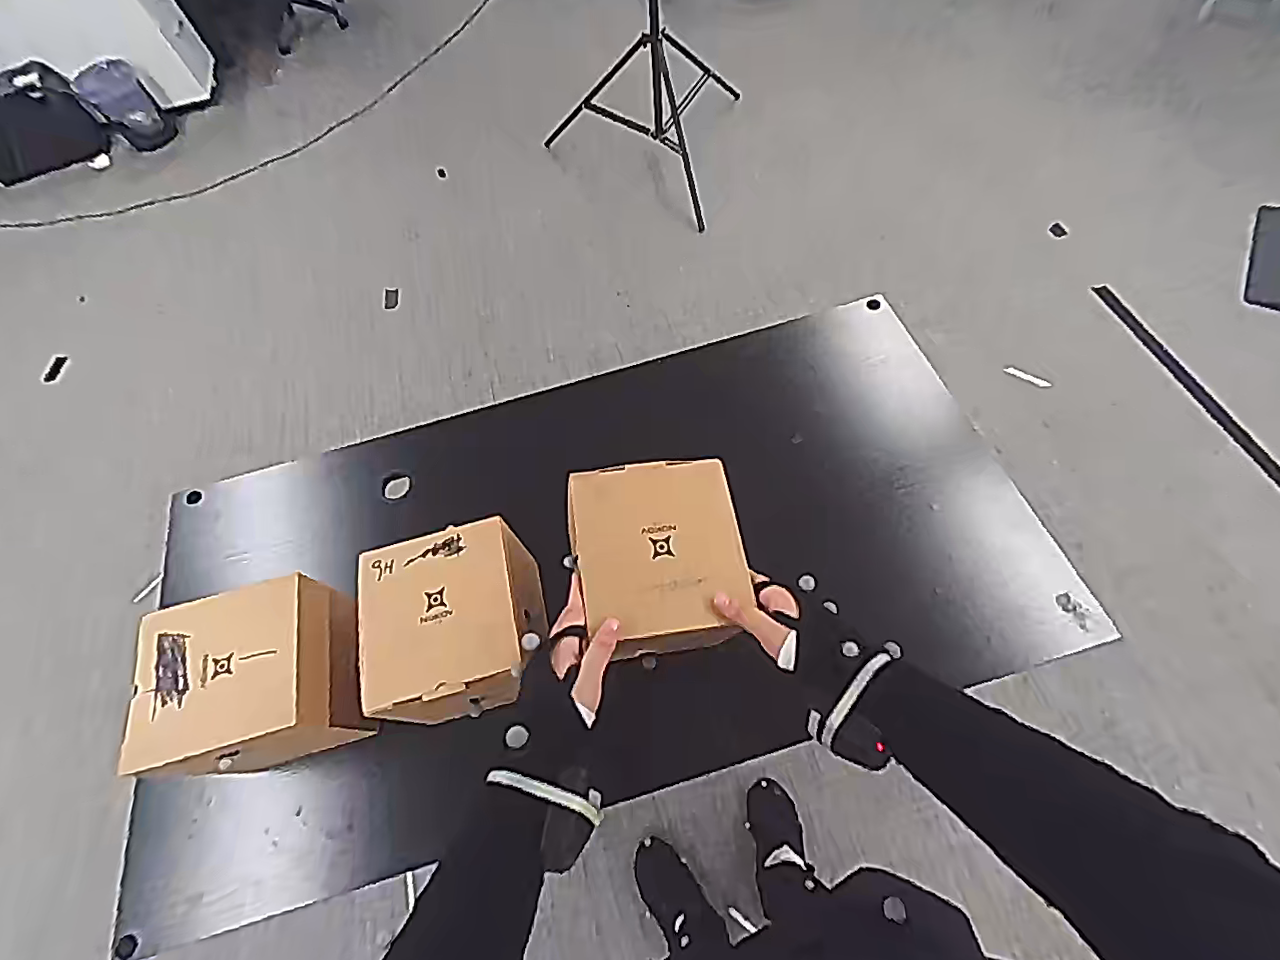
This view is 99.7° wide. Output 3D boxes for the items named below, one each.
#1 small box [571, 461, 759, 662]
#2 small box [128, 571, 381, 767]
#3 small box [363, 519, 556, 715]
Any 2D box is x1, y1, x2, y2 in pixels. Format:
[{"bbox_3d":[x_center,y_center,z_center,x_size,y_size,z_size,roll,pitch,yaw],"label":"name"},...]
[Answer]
[{"bbox_3d":[0.012,0.096,0.605,0.168,0.176,0.179,-5,67,-10],"label":"small box"},{"bbox_3d":[-0.434,0.229,0.642,0.179,0.176,0.168,-15,63,-3],"label":"small box"},{"bbox_3d":[-0.208,0.173,0.651,0.168,0.176,0.179,-15,63,-2],"label":"small box"}]
